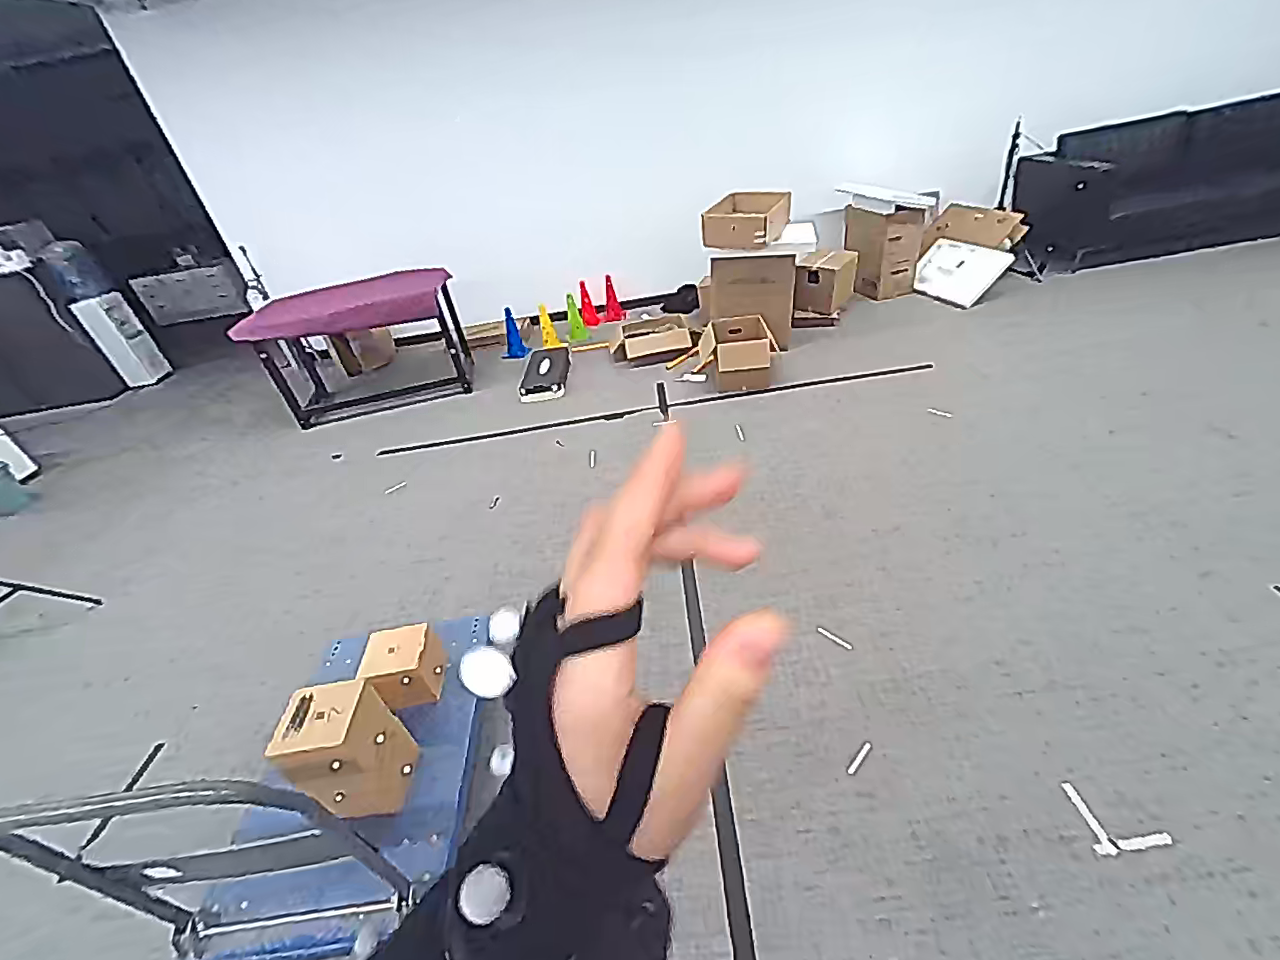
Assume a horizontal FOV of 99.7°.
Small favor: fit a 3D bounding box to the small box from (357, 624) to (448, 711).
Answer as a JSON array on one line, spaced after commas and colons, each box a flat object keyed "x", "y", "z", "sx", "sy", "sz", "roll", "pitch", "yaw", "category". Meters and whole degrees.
[{"x": -0.697, "y": 0.560, "z": 1.605, "sx": 0.179, "sy": 0.176, "sz": 0.168, "roll": -11, "pitch": 35, "yaw": -1, "category": "small box"}]

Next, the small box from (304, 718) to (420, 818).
[{"x": -0.688, "y": 0.728, "z": 1.363, "sx": 0.179, "sy": 0.176, "sz": 0.168, "roll": -7, "pitch": 36, "yaw": 4, "category": "small box"}]
